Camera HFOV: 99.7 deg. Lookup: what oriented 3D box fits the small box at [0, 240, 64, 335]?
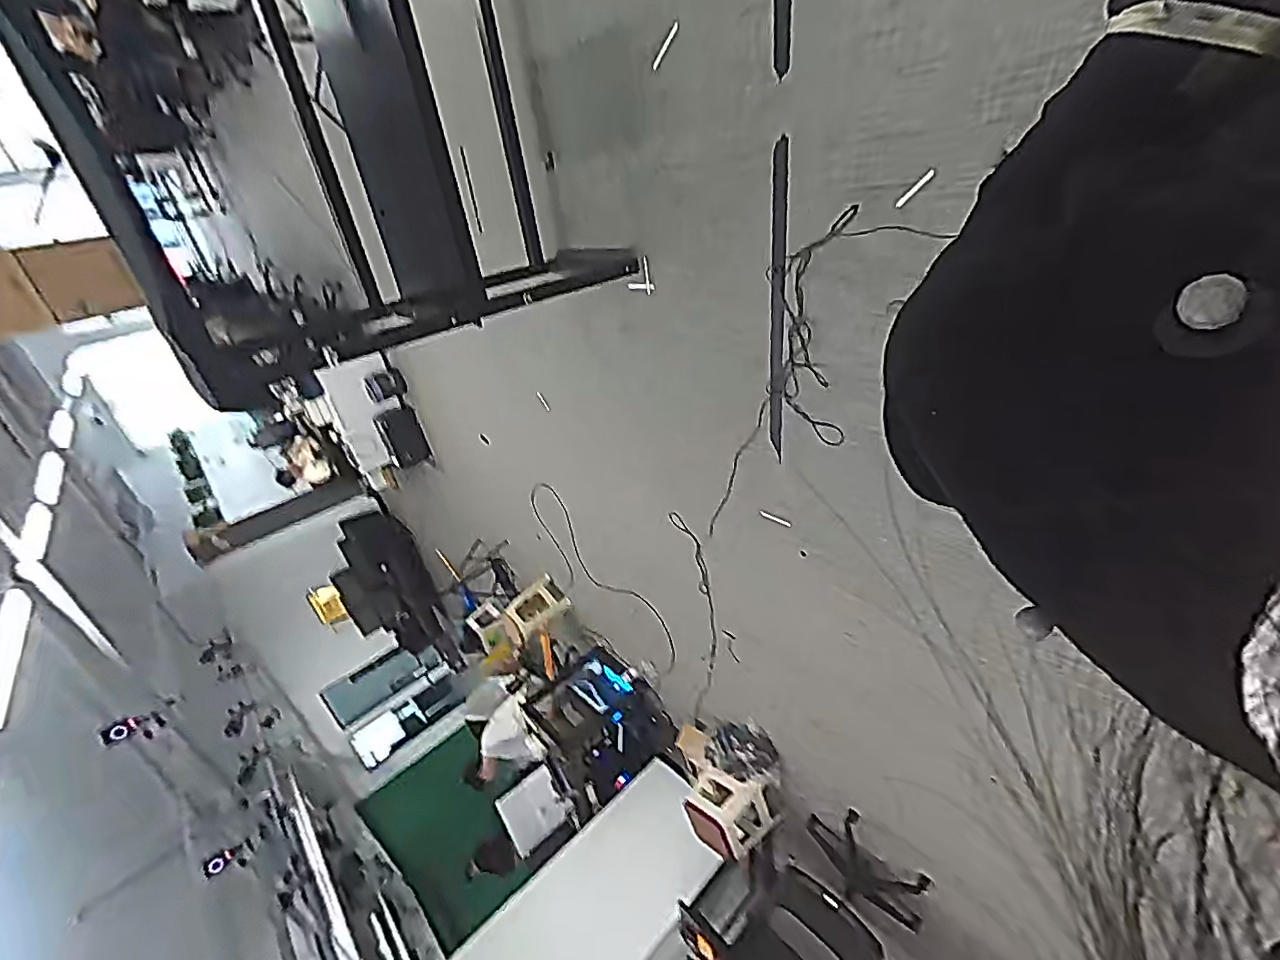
[{"bbox_3d":[-1.364,-0.398,1.126,0.179,0.176,0.168,25,134,44],"label":"small box"}]
